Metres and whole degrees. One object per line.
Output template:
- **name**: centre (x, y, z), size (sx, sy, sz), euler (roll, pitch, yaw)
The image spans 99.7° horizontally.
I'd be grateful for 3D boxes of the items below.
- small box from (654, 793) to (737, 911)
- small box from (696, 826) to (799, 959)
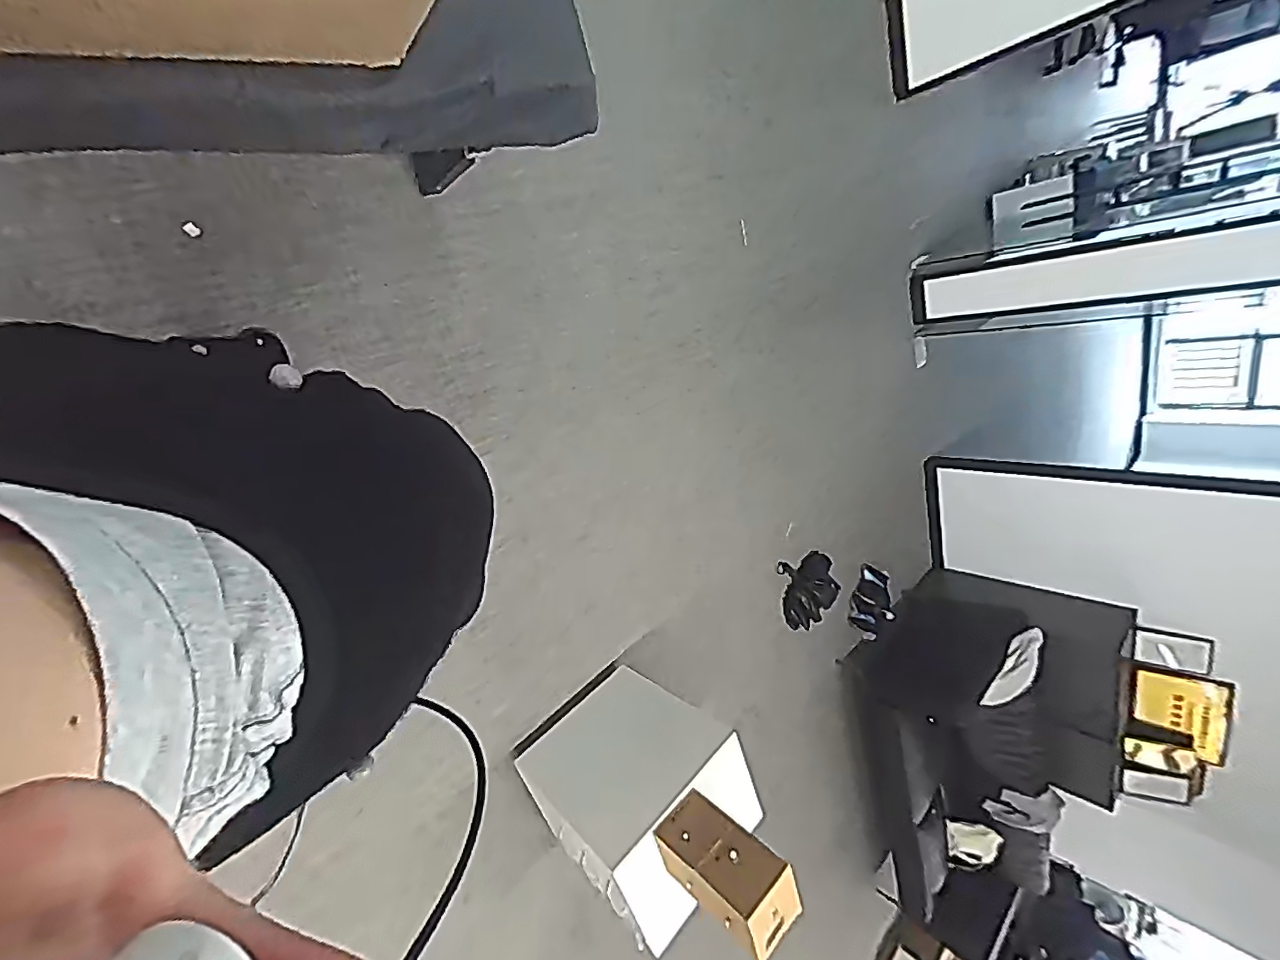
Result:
- **small box**: centre (0.159, 0.989, 1.459), size (0.168, 0.176, 0.179), euler (-31, 117, -32)
- **small box**: centre (0.263, 1.011, 1.334), size (0.168, 0.176, 0.179), euler (-30, 114, -33)
